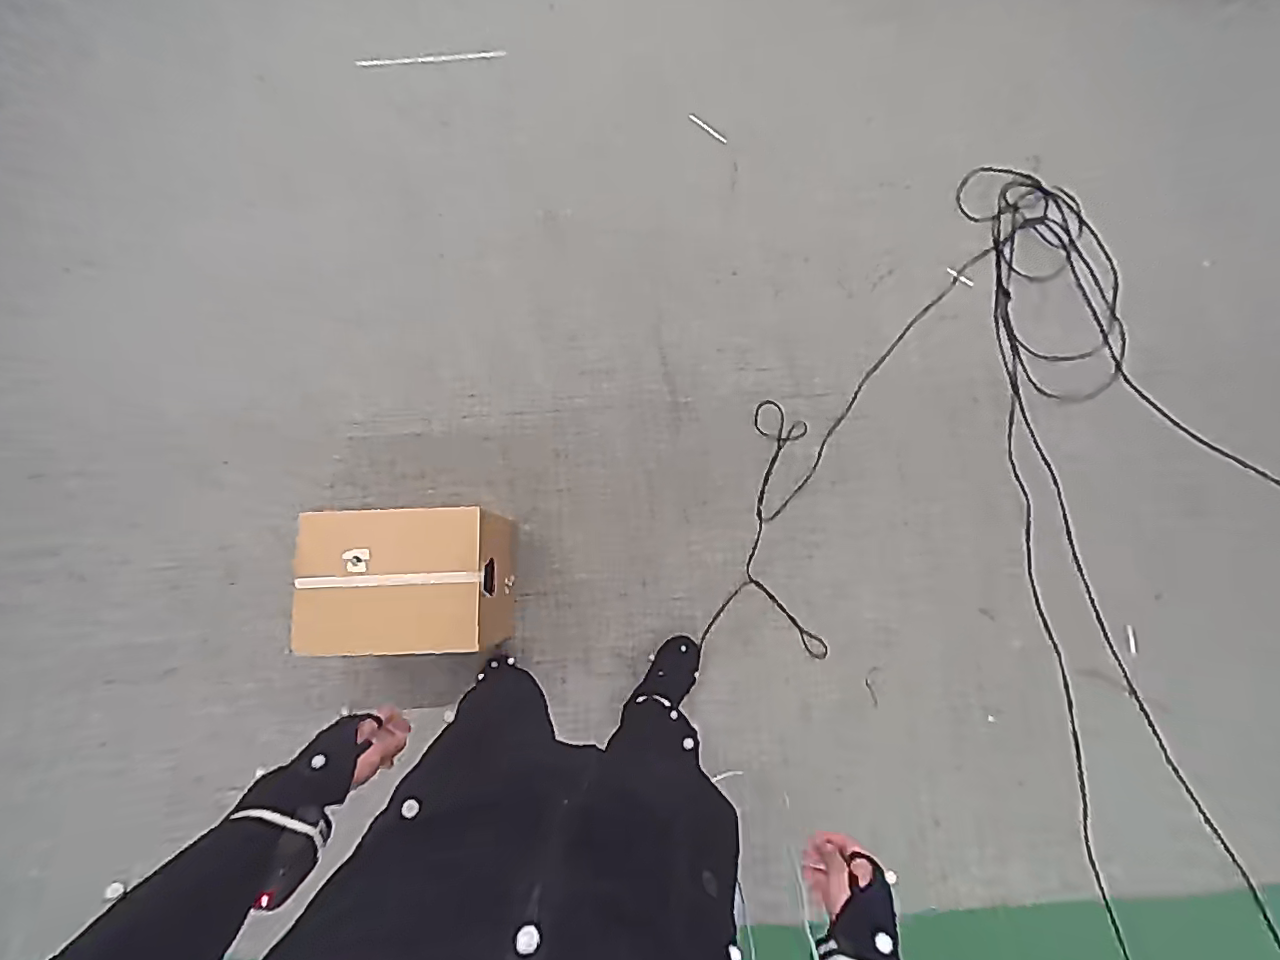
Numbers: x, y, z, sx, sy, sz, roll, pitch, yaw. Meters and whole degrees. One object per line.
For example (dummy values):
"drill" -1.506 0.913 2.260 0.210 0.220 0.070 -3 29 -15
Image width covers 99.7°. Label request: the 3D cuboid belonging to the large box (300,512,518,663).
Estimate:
"large box" -0.535 0.257 1.329 0.408 0.320 0.320 -2 80 1
